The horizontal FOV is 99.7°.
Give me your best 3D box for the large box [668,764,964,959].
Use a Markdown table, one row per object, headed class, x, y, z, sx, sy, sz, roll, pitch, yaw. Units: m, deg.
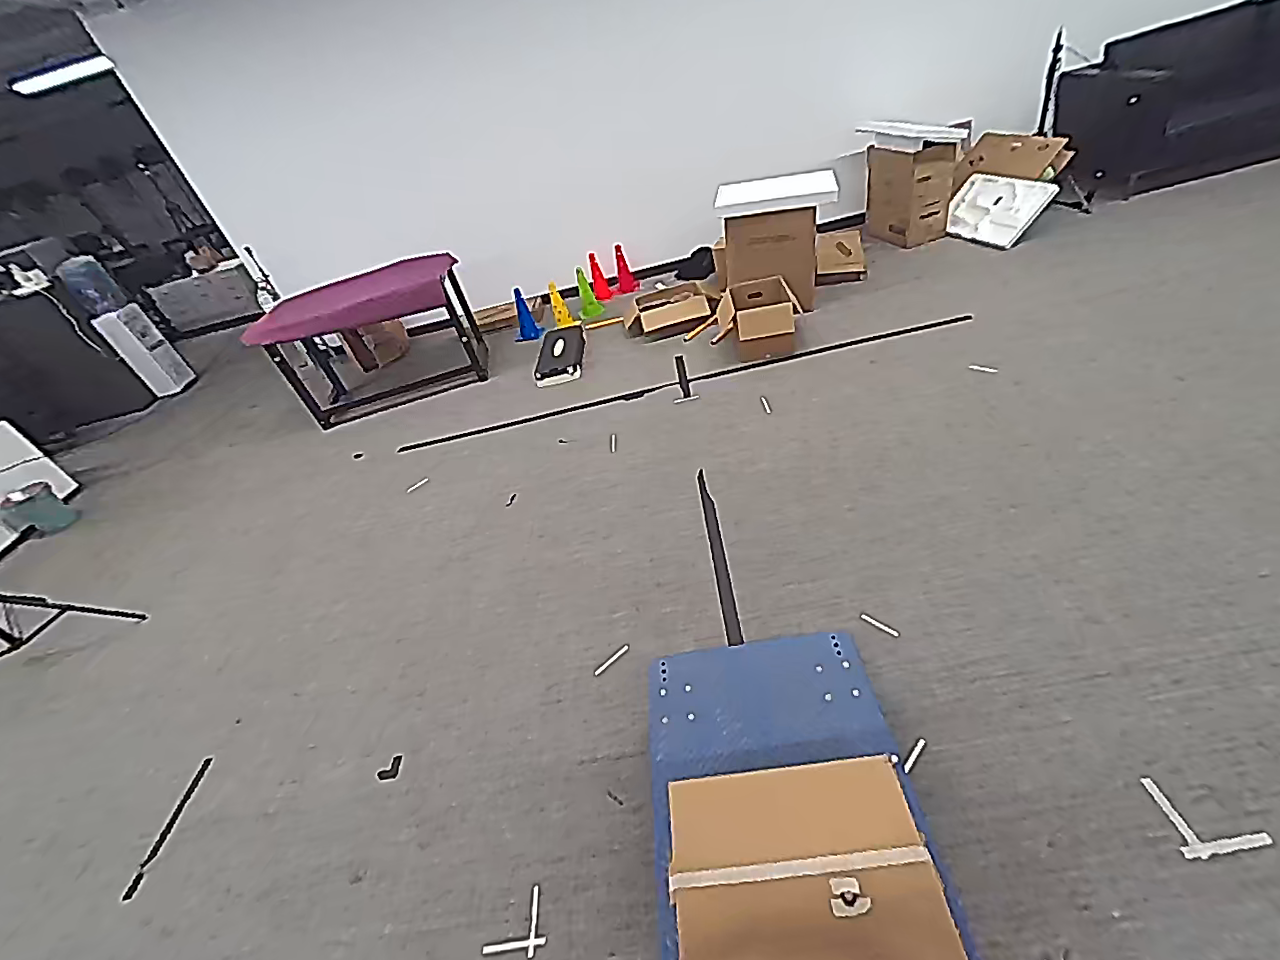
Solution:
| class | x | y | z | sx | sy | sz | roll | pitch | yaw |
| --- | --- | --- | --- | --- | --- | --- | --- | --- | --- |
| large box | 0.280 | 0.748 | 0.942 | 0.408 | 0.320 | 0.320 | -11 | 38 | 6 |
